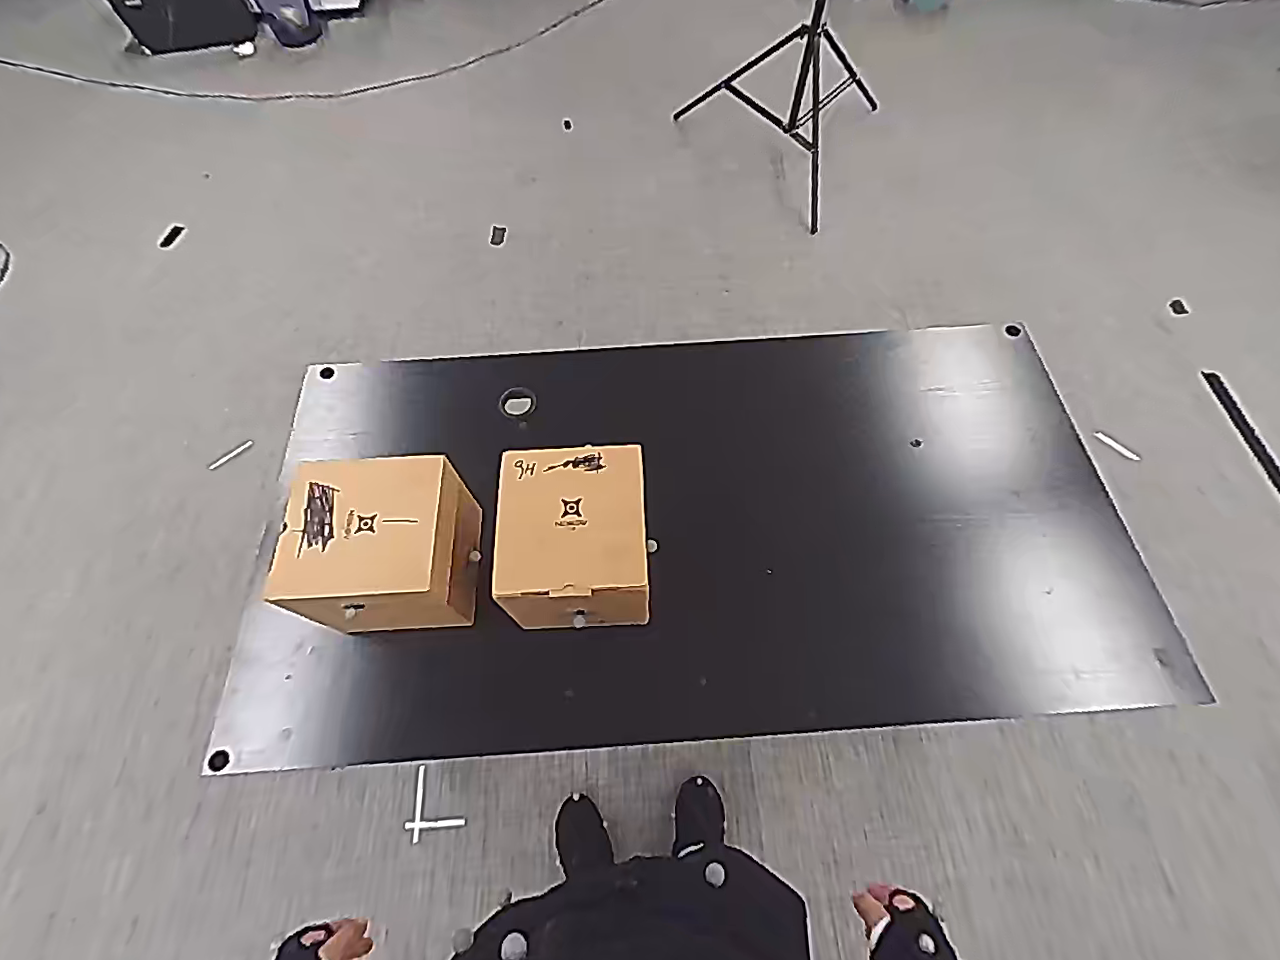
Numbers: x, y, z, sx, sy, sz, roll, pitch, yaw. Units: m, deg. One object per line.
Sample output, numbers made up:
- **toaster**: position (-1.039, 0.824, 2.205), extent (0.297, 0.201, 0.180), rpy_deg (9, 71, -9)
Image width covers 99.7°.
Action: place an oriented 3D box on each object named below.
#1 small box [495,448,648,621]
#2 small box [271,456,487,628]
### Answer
- **small box**: position (-0.074, 0.076, 0.676), extent (0.168, 0.176, 0.179), rpy_deg (-2, 64, -1)
- **small box**: position (-0.306, 0.084, 0.676), extent (0.179, 0.176, 0.168), rpy_deg (-3, 64, -1)
